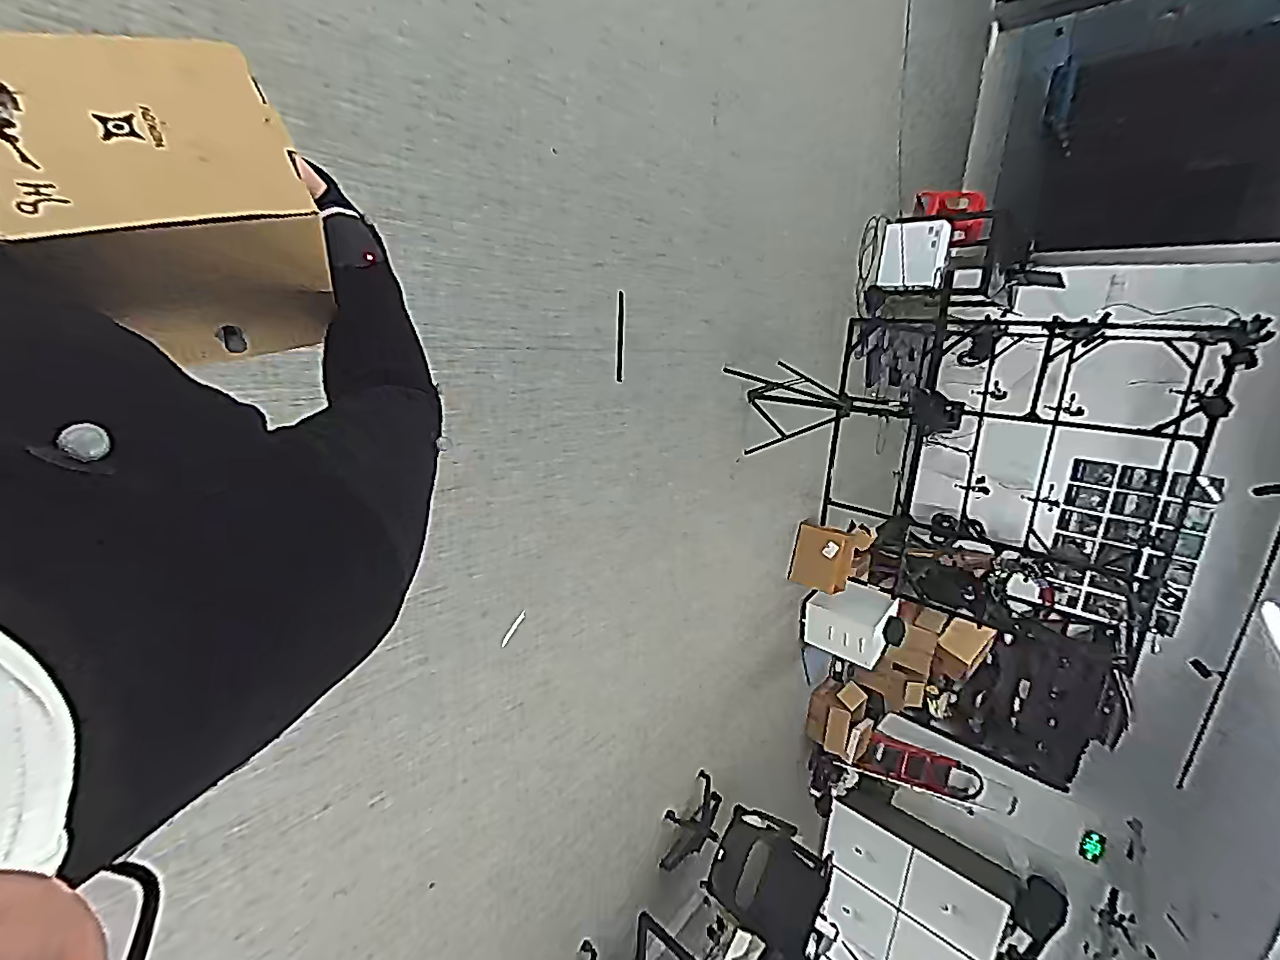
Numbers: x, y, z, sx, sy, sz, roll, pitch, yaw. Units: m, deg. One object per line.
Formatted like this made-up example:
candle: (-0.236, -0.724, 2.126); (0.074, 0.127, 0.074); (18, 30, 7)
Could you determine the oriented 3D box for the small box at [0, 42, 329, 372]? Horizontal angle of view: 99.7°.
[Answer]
small box: (-0.382, -0.216, 0.455); (0.179, 0.176, 0.168); (-23, 80, -30)
